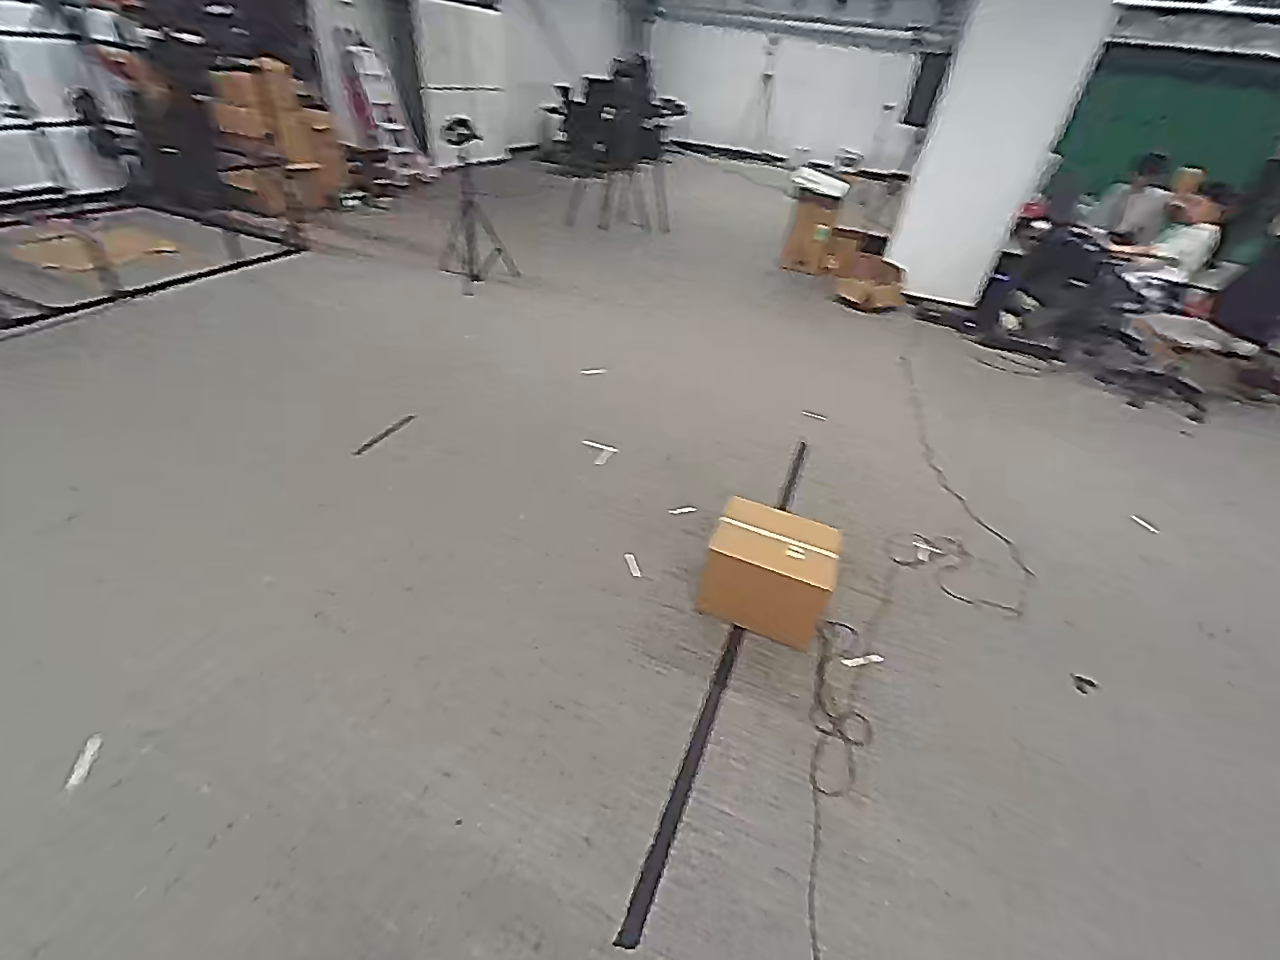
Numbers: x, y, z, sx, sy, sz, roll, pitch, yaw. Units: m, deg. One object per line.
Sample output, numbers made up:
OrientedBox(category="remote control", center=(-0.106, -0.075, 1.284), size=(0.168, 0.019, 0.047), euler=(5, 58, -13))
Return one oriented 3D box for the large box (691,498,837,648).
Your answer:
OrientedBox(category="large box", center=(0.432, 0.320, 1.910), size=(0.408, 0.320, 0.320), euler=(19, 39, 15))
